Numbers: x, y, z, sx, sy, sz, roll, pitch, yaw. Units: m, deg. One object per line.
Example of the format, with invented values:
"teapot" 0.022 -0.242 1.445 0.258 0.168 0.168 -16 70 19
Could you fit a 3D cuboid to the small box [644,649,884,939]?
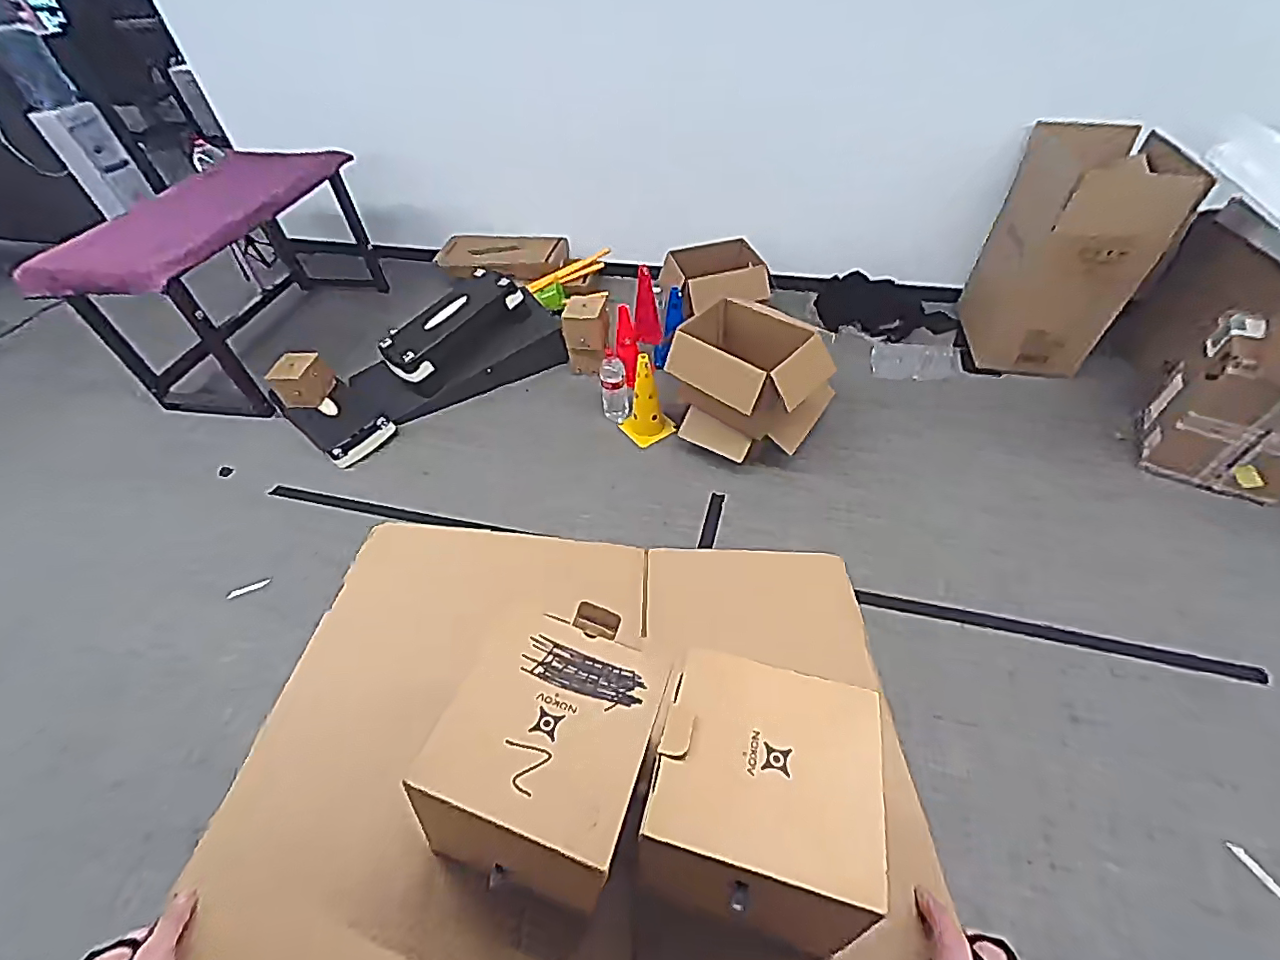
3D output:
"small box" 0.109 0.290 0.501 0.179 0.176 0.168 9 42 13
